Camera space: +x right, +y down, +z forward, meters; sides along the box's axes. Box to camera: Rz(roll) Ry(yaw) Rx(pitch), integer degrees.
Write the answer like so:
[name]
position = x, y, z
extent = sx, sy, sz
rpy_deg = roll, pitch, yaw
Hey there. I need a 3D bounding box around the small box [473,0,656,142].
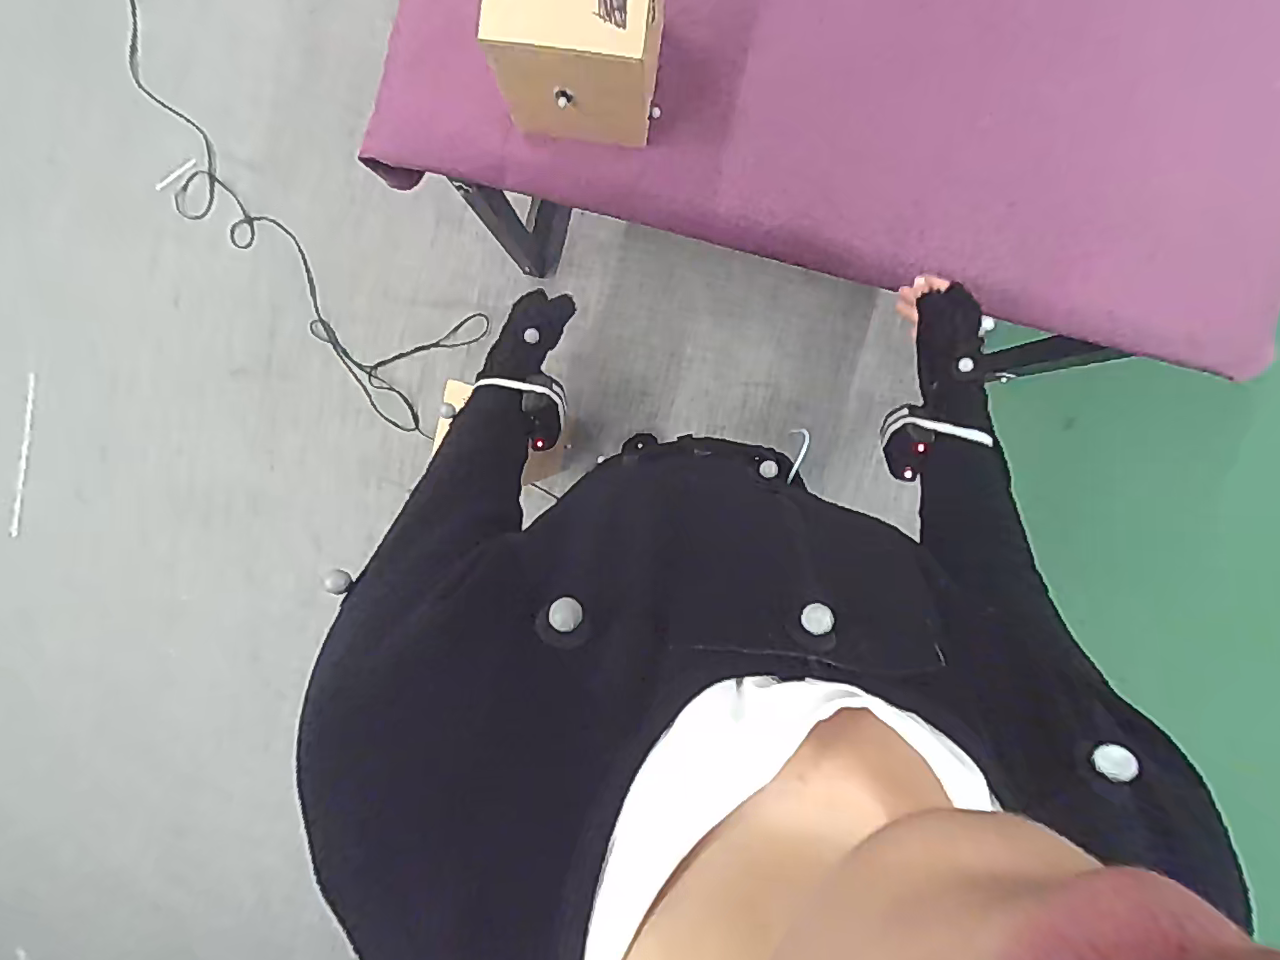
[small box]
position = -0.075, -0.530, 0.634
extent = 0.179, 0.176, 0.168
rpy_deg = 8, 93, 1
